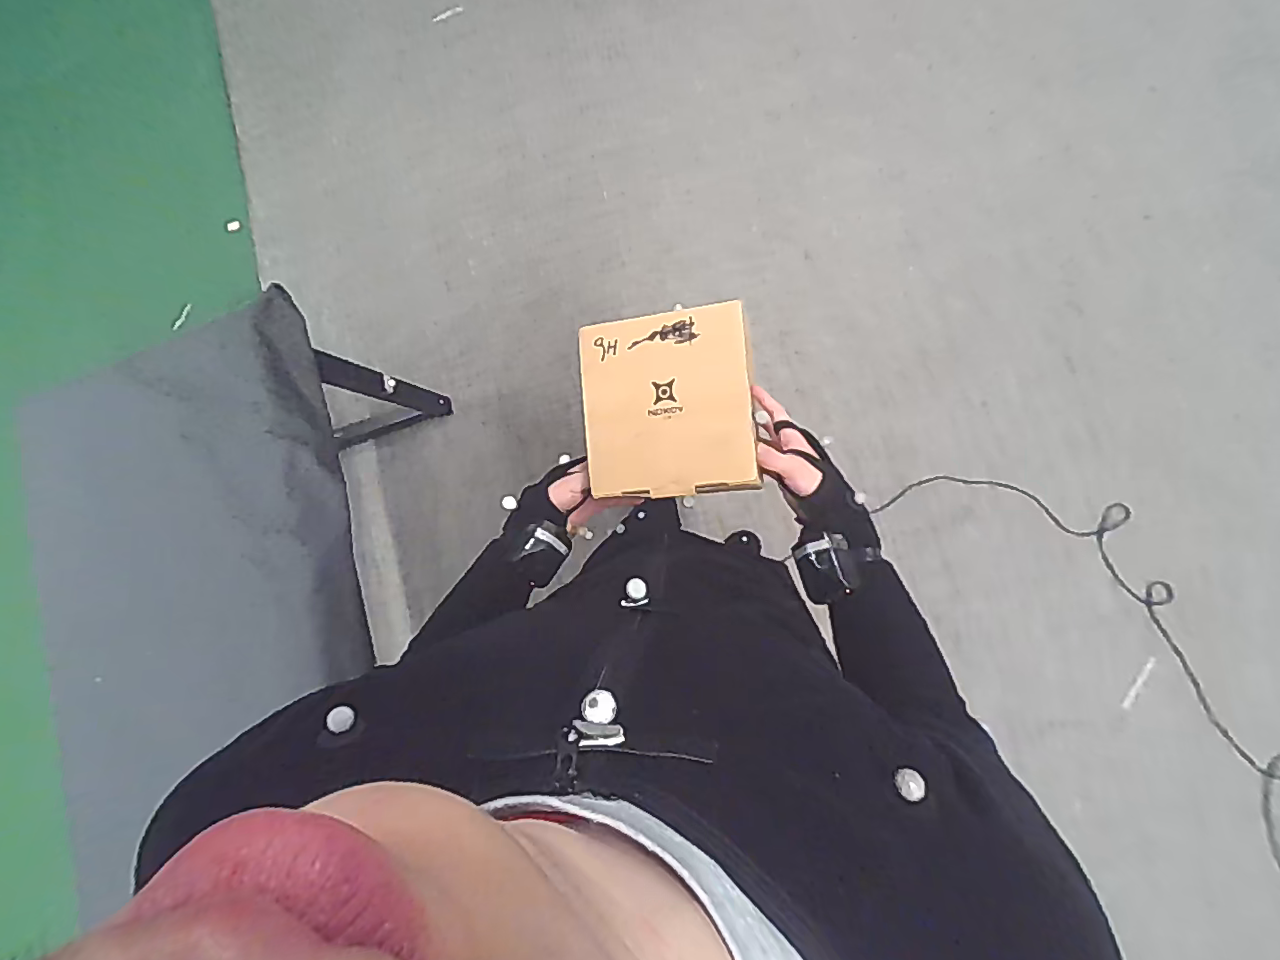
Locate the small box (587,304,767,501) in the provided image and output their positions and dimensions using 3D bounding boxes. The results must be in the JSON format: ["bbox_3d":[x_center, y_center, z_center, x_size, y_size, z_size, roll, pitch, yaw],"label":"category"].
[{"bbox_3d":[0.050,-0.071,0.597,0.168,0.176,0.179,-5,86,13],"label":"small box"}]
